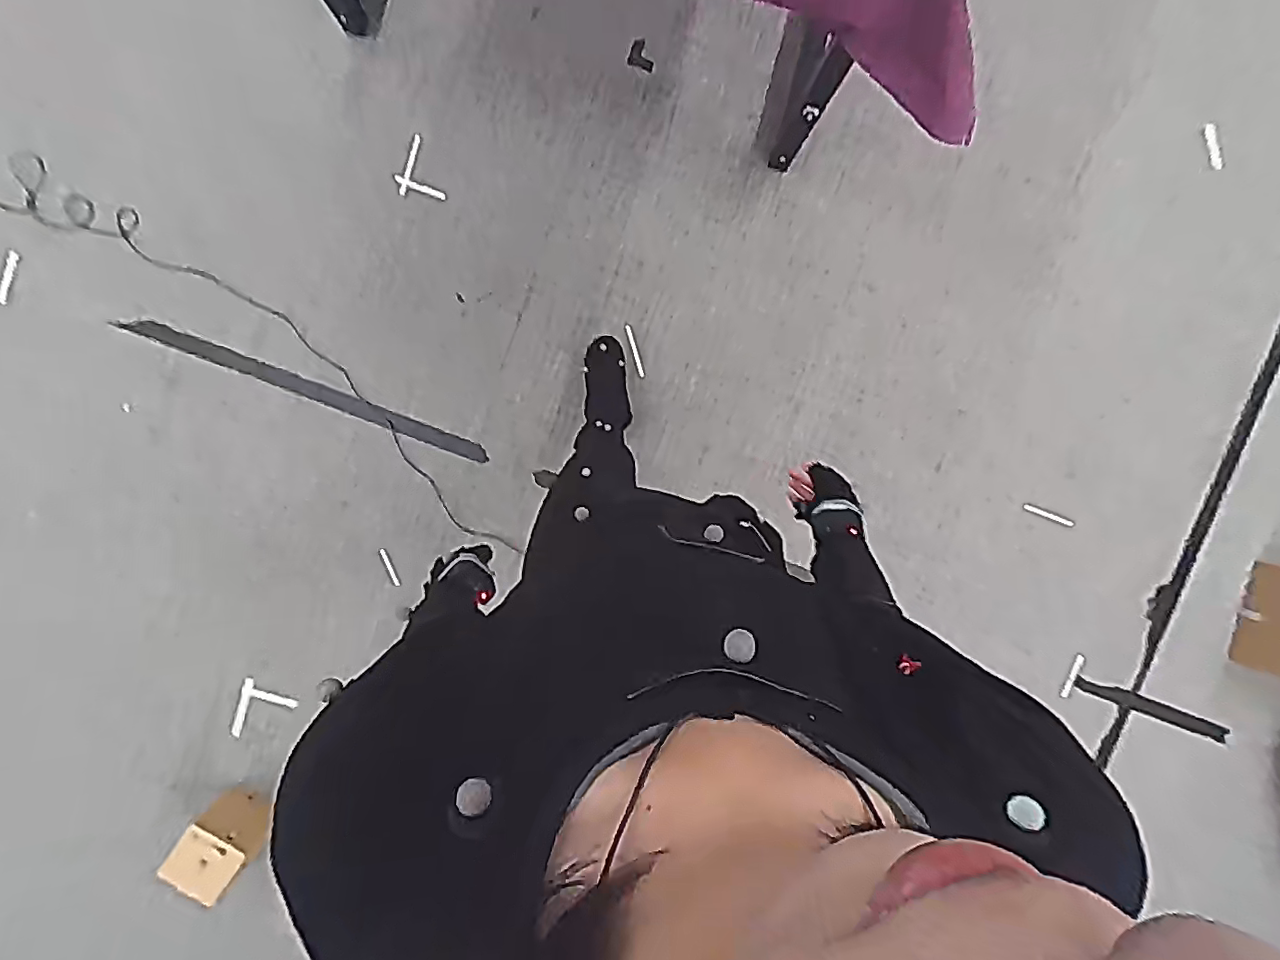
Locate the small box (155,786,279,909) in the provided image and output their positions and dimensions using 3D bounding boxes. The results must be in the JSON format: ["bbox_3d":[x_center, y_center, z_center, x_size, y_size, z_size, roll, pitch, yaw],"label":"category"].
[{"bbox_3d":[-1.132,0.987,1.466,0.168,0.176,0.179,35,93,-4],"label":"small box"}]

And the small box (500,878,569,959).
[{"bbox_3d":[-0.295,1.267,1.520,0.168,0.176,0.179,8,95,-3],"label":"small box"}]
